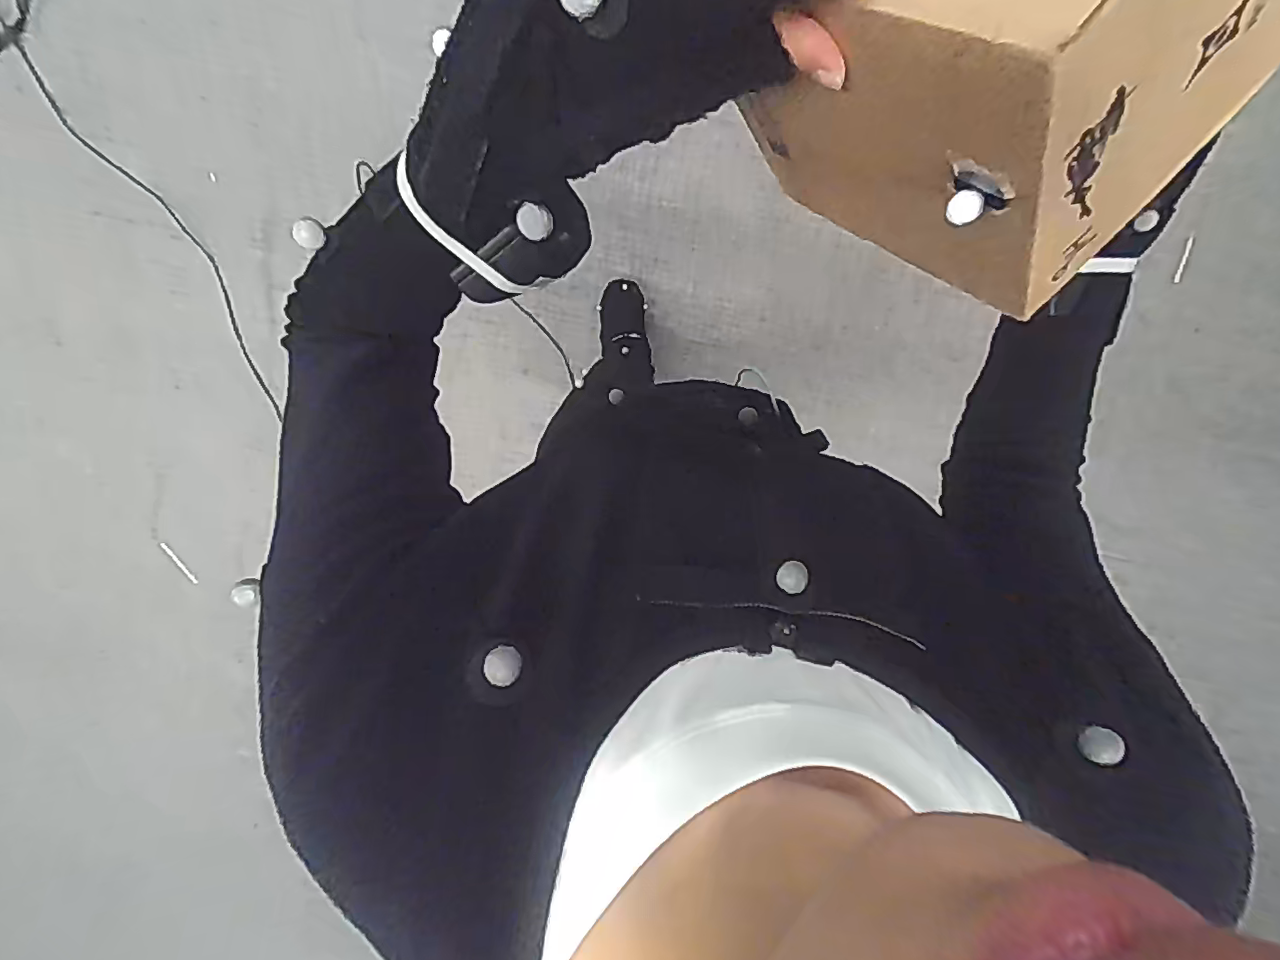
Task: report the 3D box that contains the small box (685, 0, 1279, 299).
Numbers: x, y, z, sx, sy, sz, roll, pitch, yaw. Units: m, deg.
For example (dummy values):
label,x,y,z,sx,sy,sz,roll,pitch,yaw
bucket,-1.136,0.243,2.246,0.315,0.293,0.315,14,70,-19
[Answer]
label,x,y,z,sx,sy,sz,roll,pitch,yaw
small box,0.152,-0.221,0.232,0.179,0.168,0.176,-52,58,14
